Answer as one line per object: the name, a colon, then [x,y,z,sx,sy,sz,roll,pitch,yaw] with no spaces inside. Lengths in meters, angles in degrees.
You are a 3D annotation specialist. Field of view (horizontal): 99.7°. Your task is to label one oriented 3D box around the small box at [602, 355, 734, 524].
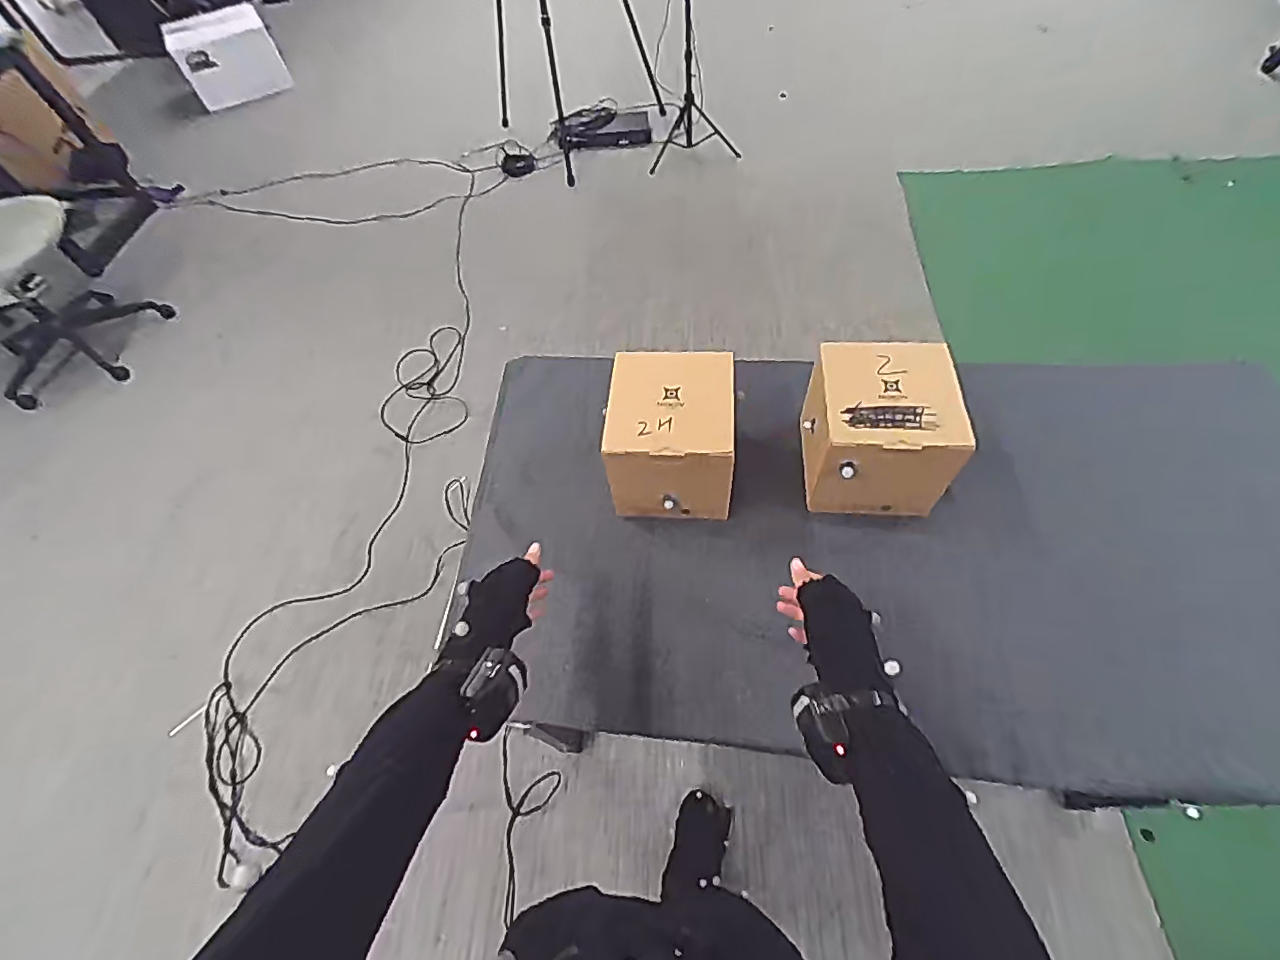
small box: [0.046,-0.056,0.775,0.168,0.176,0.179,2,58,7]
